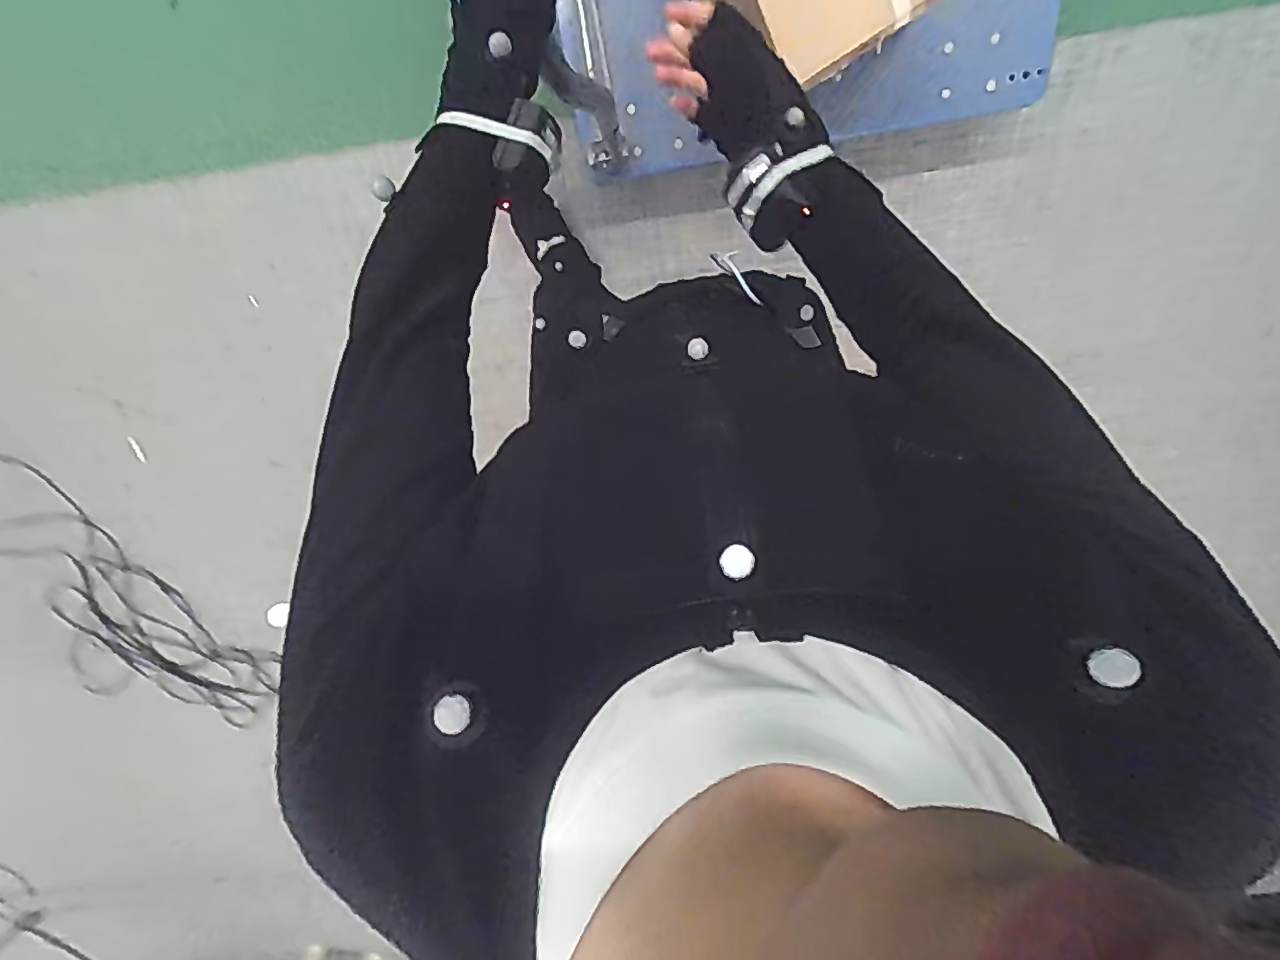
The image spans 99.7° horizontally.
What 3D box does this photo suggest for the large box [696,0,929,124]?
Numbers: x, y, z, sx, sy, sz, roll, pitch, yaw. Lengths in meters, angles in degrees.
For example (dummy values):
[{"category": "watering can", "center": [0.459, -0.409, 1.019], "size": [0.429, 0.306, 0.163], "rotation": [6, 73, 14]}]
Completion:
[{"category": "large box", "center": [0.234, -0.834, 0.792], "size": [0.320, 0.320, 0.408], "rotation": [-28, 111, 13]}]
